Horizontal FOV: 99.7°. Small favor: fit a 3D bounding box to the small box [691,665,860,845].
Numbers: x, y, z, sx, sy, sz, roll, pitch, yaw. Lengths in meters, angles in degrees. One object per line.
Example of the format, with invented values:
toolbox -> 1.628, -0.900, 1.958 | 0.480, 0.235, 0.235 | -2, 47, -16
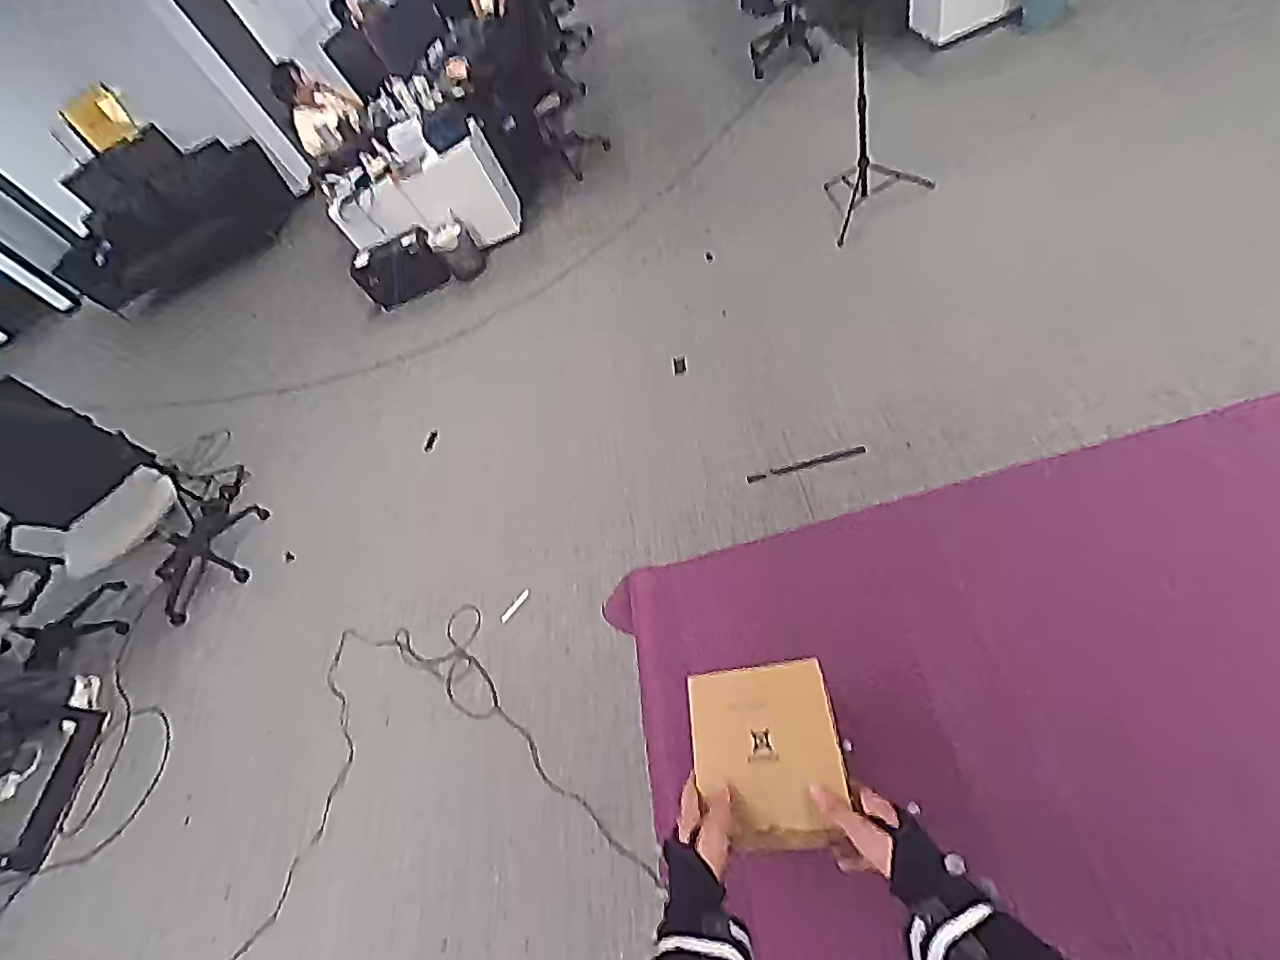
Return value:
small box -> 0.171, 0.353, 0.680 | 0.168, 0.176, 0.179 | -13, 51, 15
